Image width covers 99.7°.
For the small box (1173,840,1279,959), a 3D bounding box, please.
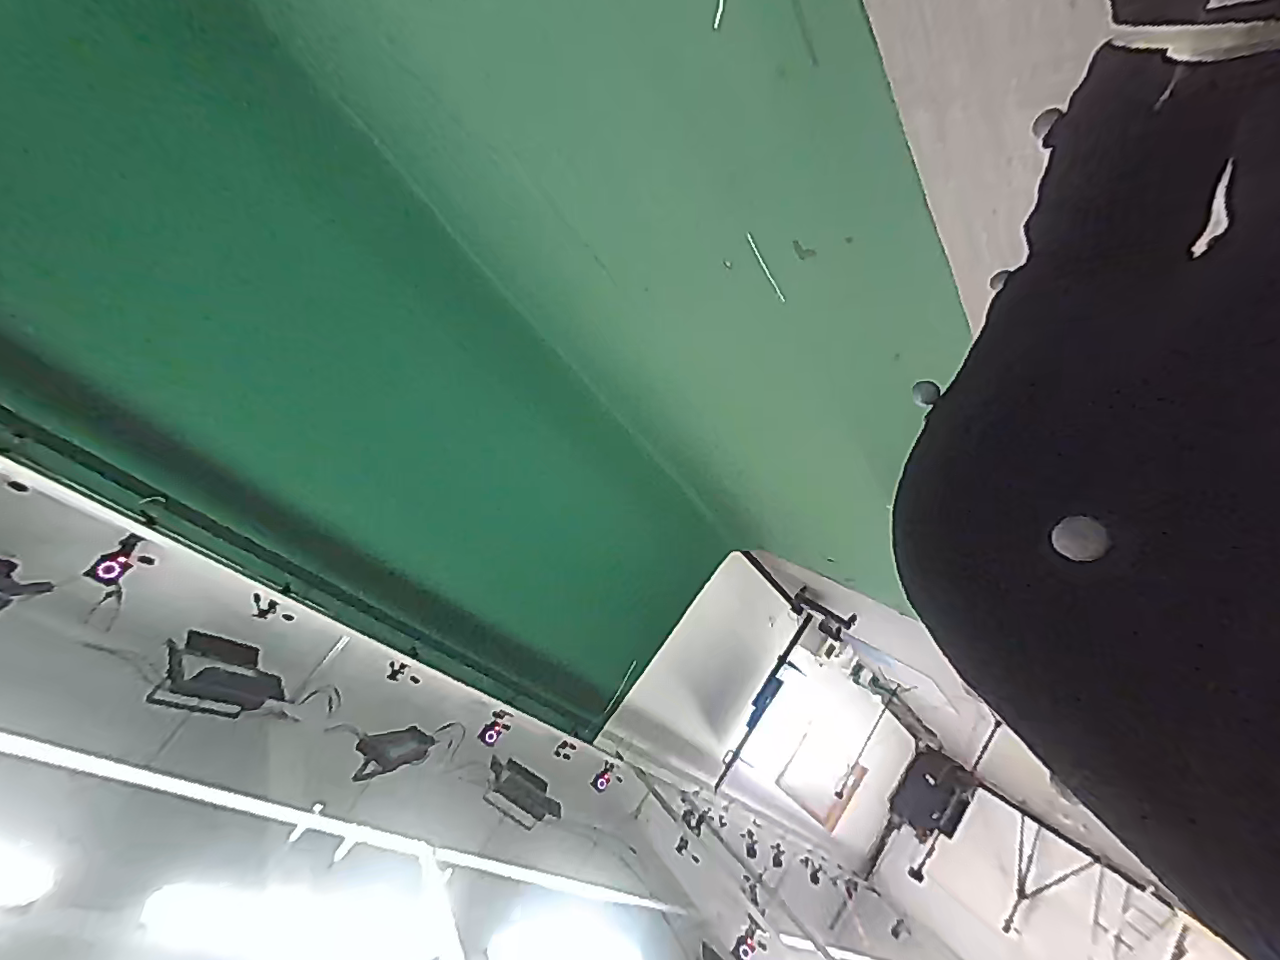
[{"bbox_3d":[1.407,0.996,1.265,0.168,0.176,0.179,45,168,-29],"label":"small box"}]
